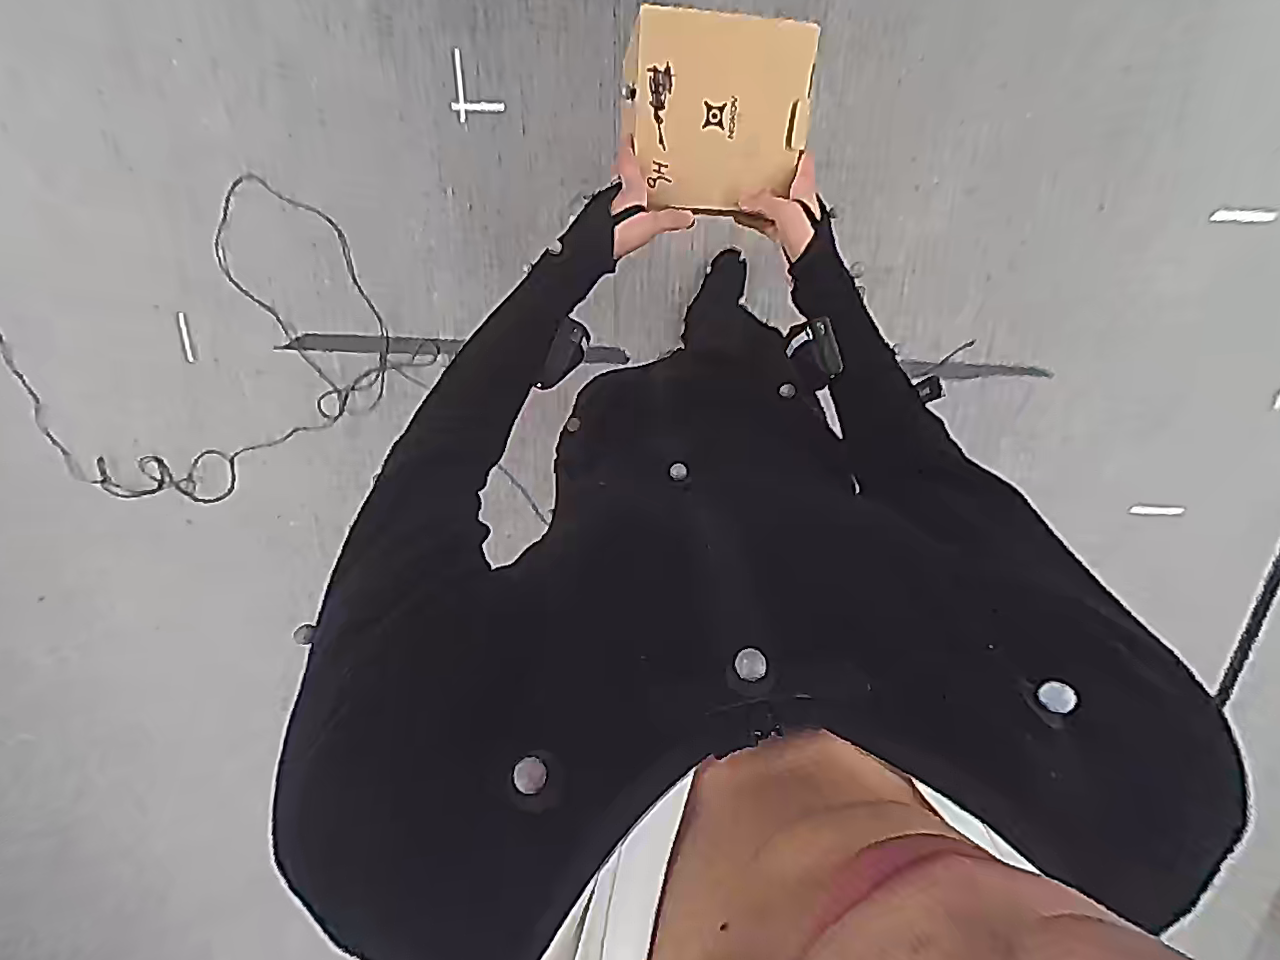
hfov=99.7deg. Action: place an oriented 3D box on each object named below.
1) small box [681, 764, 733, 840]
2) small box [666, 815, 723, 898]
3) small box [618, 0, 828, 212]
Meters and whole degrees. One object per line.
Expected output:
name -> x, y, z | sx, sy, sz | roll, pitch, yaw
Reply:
small box -> 0.240, 1.167, 1.957 | 0.168, 0.176, 0.179 | -8, 108, 5
small box -> 0.179, 1.274, 1.823 | 0.168, 0.176, 0.179 | 5, 109, -1
small box -> 0.074, -0.392, 0.594 | 0.179, 0.176, 0.168 | 0, 114, -8
